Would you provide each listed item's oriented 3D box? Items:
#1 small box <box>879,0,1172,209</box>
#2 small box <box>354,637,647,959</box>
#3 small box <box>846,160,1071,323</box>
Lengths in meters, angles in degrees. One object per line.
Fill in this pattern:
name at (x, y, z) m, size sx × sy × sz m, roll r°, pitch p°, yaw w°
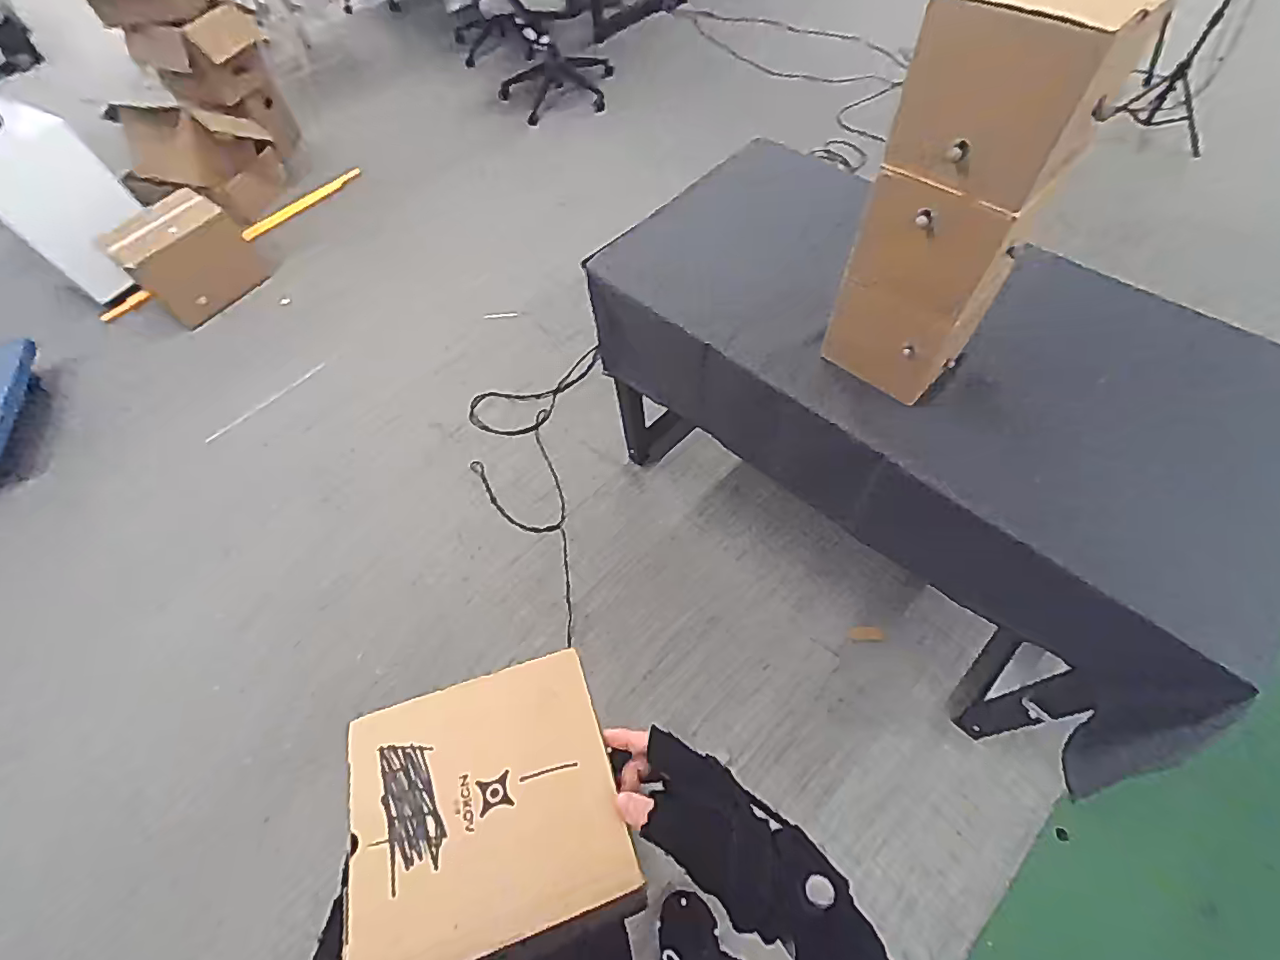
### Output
small box at (0.404, -0.432, 0.596) m, size 0.168 × 0.176 × 0.179 m, roll -41°, pitch 64°, yaw -19°
small box at (-0.101, 0.260, 0.430) m, size 0.179 × 0.176 × 0.168 m, roll -16°, pitch 49°, yaw -12°
small box at (0.413, -0.342, 0.733) m, size 0.179 × 0.176 × 0.168 m, roll 38°, pitch 69°, yaw 24°
